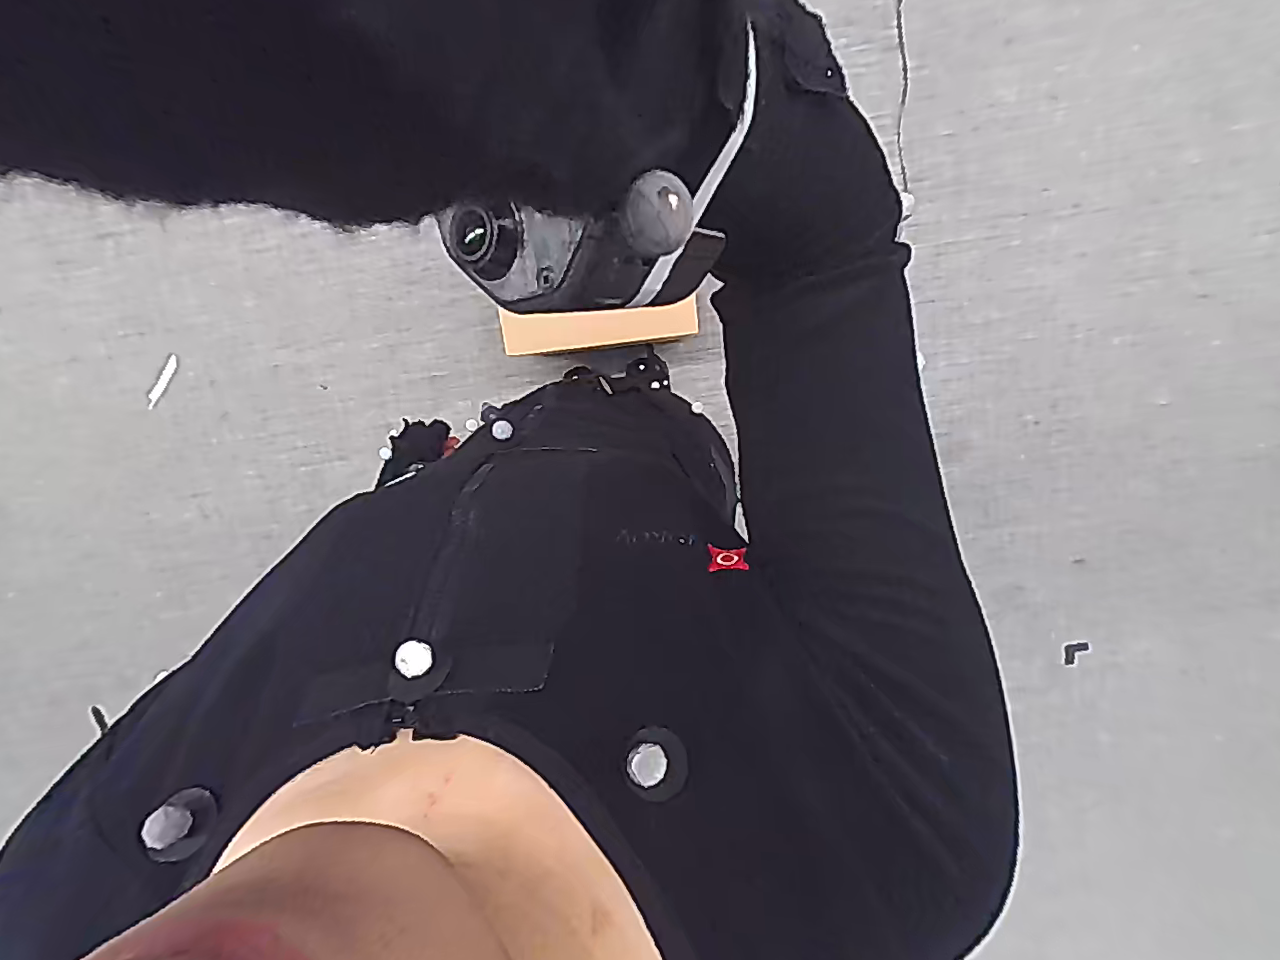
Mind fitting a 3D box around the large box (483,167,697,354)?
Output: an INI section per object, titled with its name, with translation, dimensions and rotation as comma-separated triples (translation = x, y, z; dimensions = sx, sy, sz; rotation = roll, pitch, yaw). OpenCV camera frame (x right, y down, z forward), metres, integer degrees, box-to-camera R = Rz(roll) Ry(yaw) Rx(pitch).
[large box]
translation = -0.099, -0.473, 1.241
dimensions = 0.408, 0.320, 0.320
rotation = -7, 103, 1
